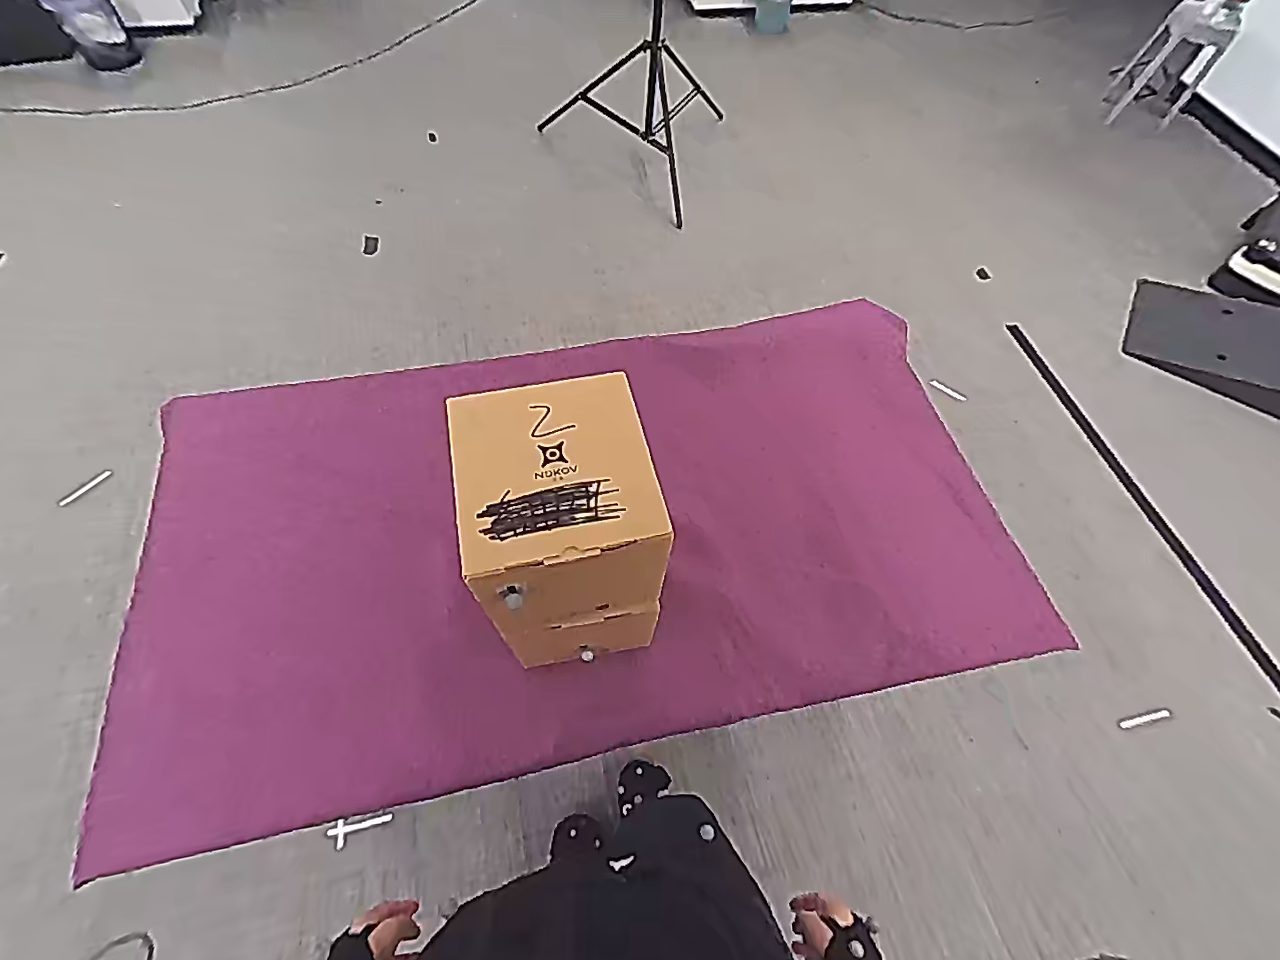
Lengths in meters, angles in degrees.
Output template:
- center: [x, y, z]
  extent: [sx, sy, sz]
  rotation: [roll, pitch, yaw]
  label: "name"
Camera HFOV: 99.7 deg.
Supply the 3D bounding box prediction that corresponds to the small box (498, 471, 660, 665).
- center: [-0.078, 0.112, 0.670]
  extent: [0.168, 0.176, 0.179]
  rotation: [-8, 61, -8]
  label: "small box"
